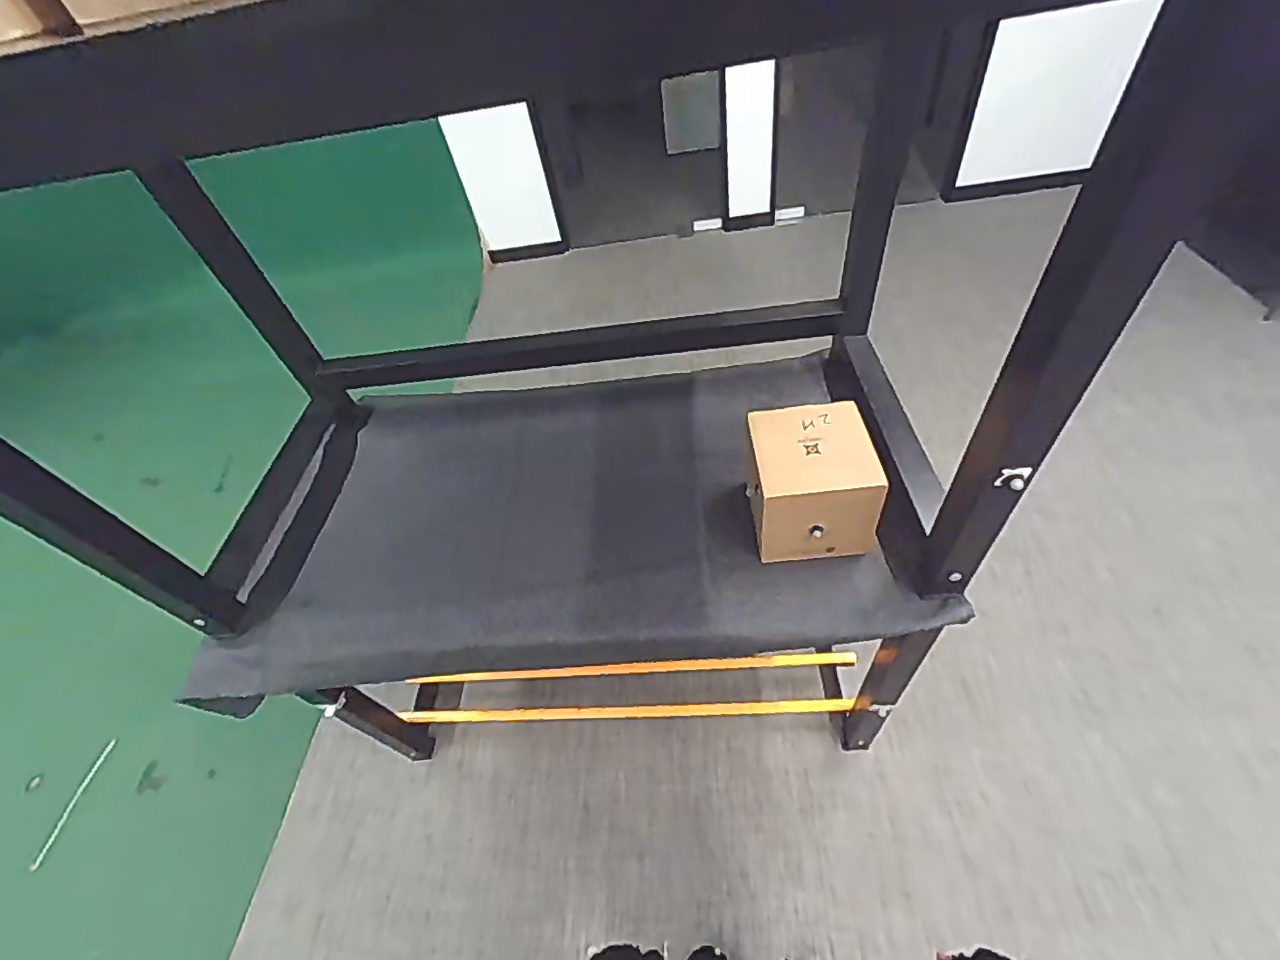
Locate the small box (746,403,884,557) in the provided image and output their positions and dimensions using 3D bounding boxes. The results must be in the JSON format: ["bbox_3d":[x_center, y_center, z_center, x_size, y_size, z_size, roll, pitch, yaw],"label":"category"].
[{"bbox_3d":[0.260,0.008,0.844,0.168,0.176,0.179,-6,48,6],"label":"small box"}]
